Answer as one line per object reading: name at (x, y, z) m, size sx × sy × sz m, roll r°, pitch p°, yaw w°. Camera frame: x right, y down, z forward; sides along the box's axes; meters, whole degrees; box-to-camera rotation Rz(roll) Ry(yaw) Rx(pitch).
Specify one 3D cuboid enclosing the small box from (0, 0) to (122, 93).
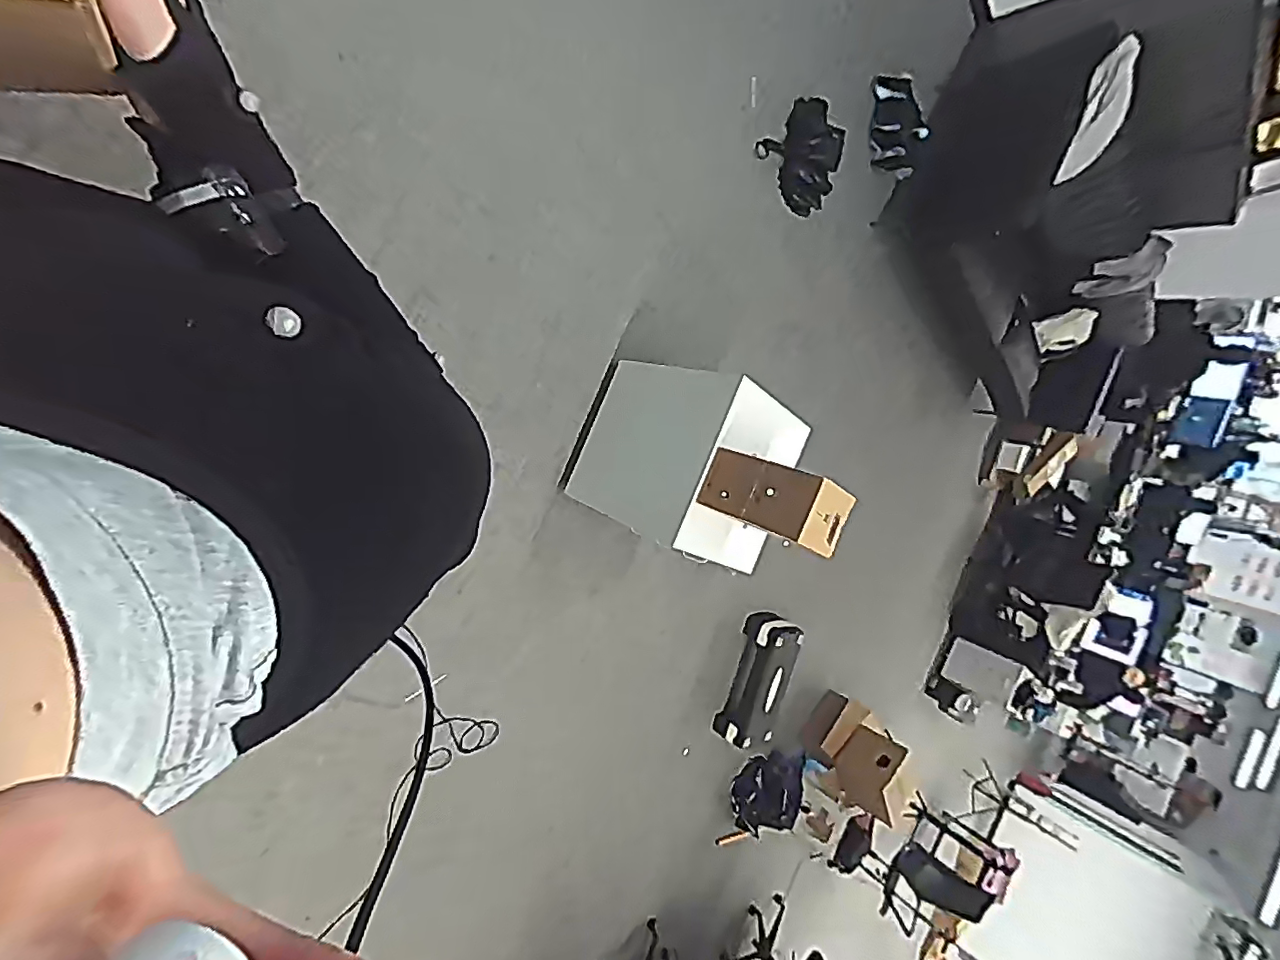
small box at (-0.371, -0.282, 0.226) m, size 0.179 × 0.176 × 0.168 m, roll -22°, pitch 119°, yaw -31°

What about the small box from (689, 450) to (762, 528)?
small box at (0.263, 0.029, 1.467) m, size 0.179 × 0.176 × 0.168 m, roll 23°, pitch 89°, yaw -45°

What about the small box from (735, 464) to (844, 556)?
small box at (0.371, 0.071, 1.350) m, size 0.179 × 0.176 × 0.168 m, roll 25°, pitch 88°, yaw -43°
